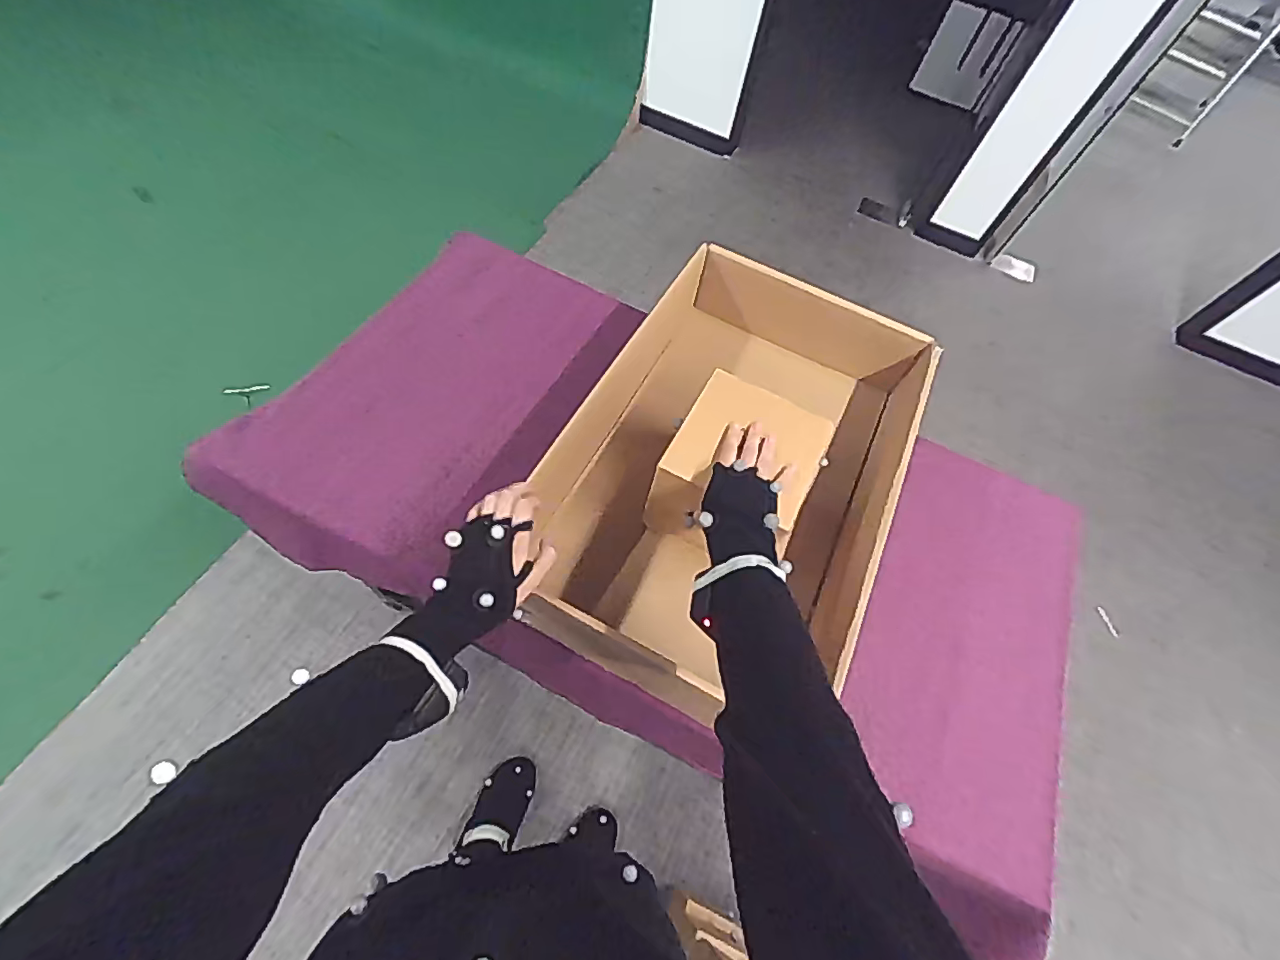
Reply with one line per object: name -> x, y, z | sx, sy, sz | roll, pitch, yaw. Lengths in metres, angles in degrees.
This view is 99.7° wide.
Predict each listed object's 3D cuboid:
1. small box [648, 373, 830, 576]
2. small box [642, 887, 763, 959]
small box -> 0.120, 0.000, 0.715 | 0.168, 0.176, 0.179 | 27, 60, 8
small box -> 0.118, 0.956, 1.084 | 0.179, 0.176, 0.168 | 25, 61, 7
